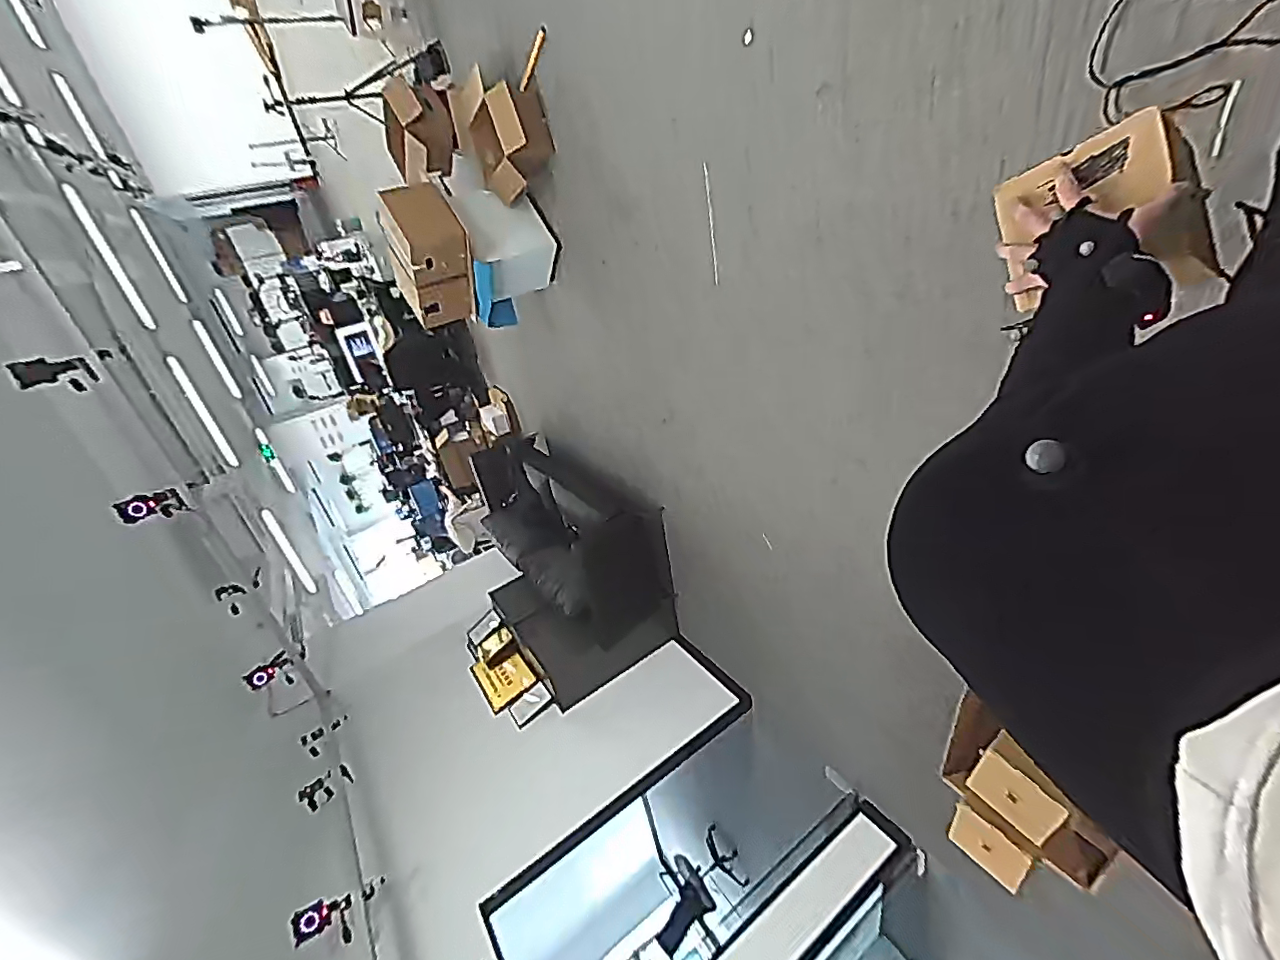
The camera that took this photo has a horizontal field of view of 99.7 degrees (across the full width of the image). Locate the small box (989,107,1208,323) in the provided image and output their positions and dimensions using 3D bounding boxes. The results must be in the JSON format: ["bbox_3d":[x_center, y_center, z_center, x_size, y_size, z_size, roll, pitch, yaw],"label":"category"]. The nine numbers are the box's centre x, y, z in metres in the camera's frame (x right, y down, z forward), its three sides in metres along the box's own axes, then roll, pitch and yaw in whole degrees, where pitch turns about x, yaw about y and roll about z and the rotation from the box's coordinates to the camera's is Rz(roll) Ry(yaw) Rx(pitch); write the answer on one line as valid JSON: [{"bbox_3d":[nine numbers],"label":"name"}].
[{"bbox_3d":[0.589,-0.321,0.700,0.168,0.176,0.179,-16,81,54],"label":"small box"}]

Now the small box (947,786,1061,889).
[{"bbox_3d":[0.908,0.856,1.352,0.168,0.176,0.179,33,139,48],"label":"small box"}]

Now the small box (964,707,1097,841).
[{"bbox_3d":[0.877,0.652,1.216,0.168,0.176,0.179,39,145,42],"label":"small box"}]
